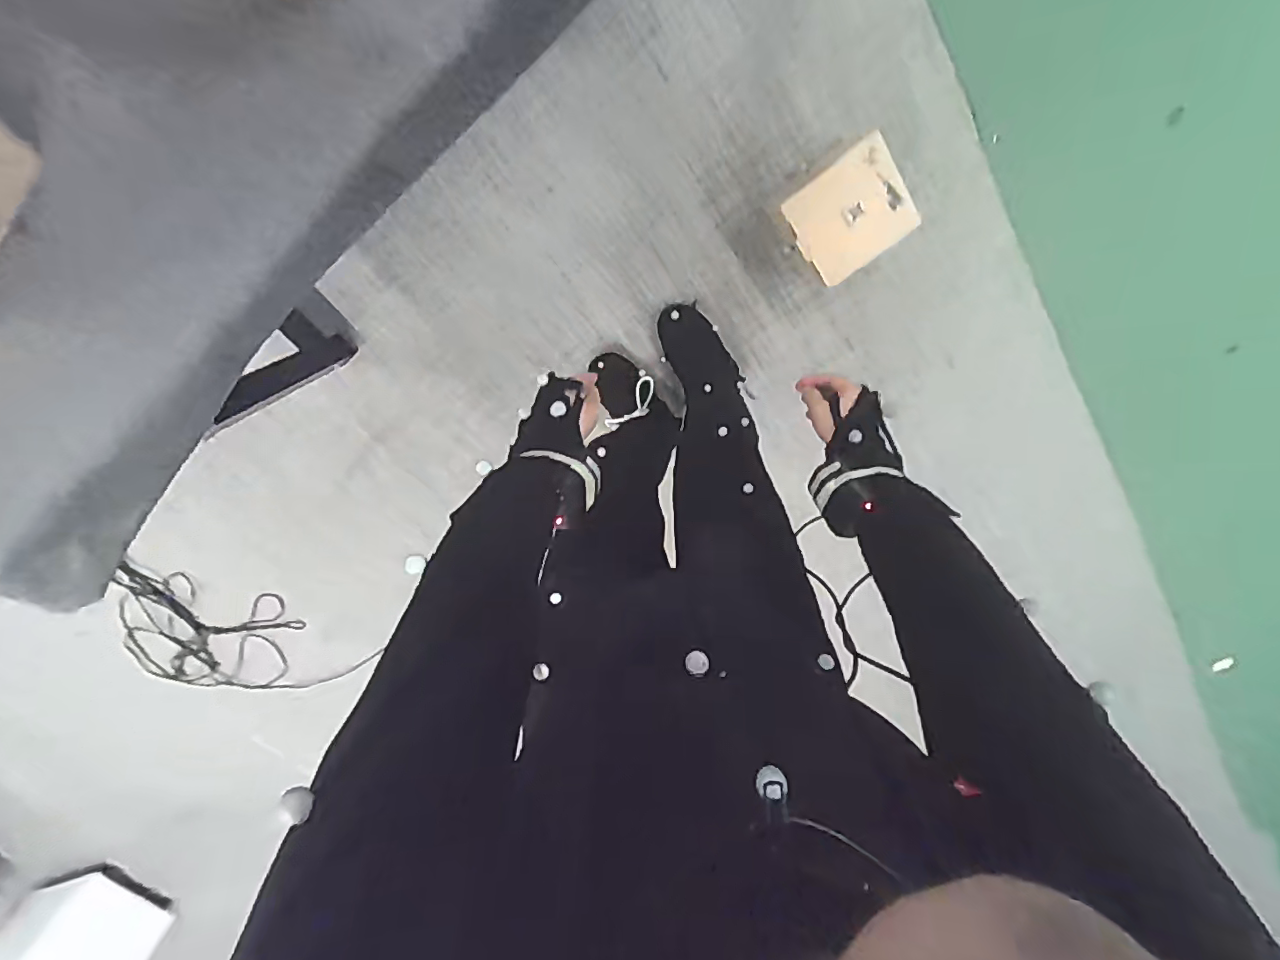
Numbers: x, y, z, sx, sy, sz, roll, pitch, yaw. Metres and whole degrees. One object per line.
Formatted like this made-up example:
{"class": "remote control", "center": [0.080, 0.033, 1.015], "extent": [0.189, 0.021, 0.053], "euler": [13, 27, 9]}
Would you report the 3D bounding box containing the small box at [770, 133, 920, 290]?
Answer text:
{"class": "small box", "center": [0.344, -0.461, 0.946], "extent": [0.179, 0.176, 0.168], "euler": [-34, 110, 18]}
